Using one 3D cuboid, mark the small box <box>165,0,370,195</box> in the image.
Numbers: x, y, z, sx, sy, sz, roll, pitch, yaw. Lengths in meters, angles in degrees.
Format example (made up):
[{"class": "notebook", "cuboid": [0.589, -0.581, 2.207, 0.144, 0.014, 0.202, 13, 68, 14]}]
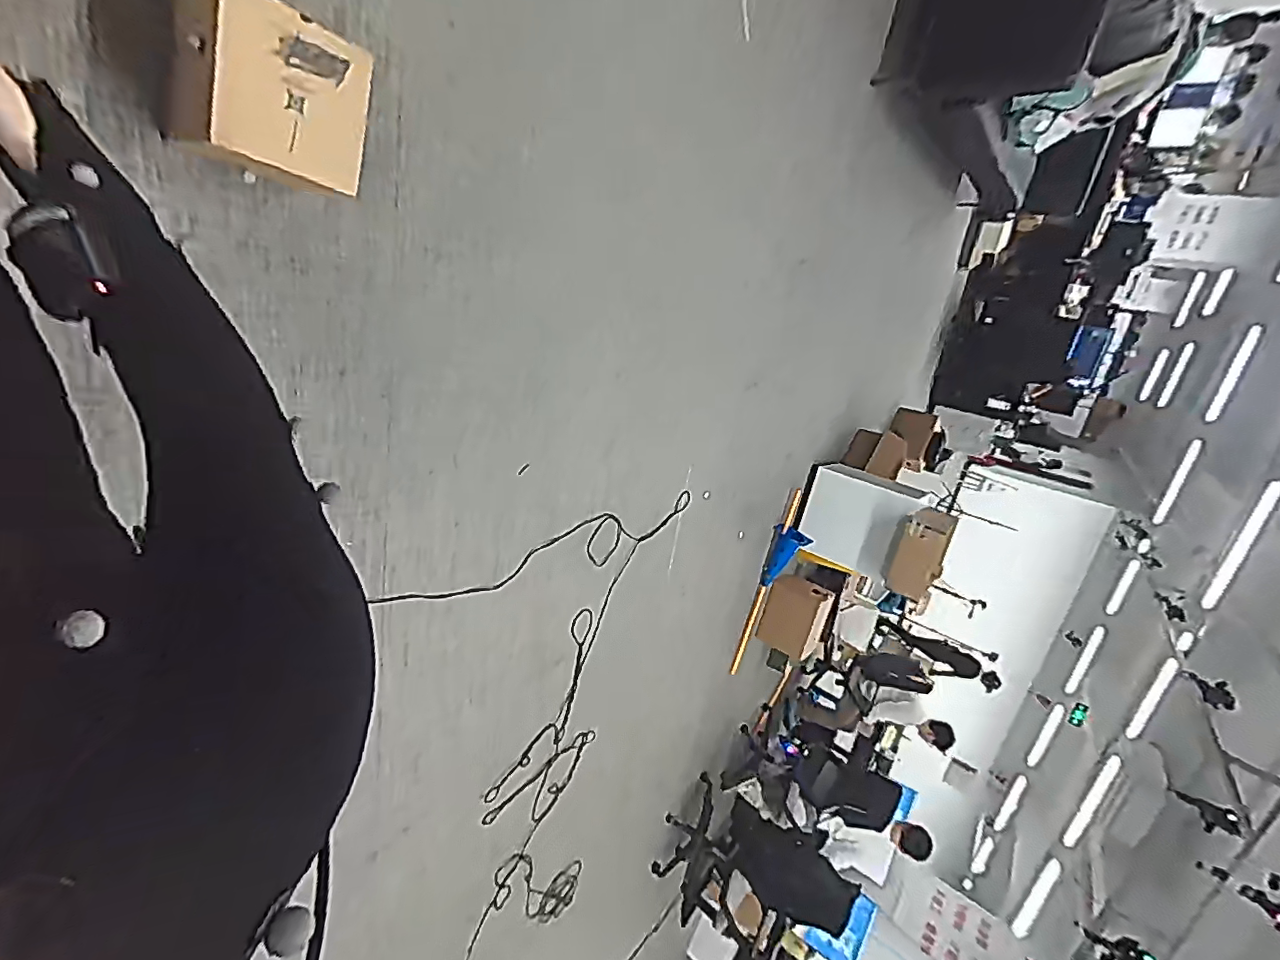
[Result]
[{"class": "small box", "cuboid": [-0.479, -0.494, 0.695, 0.168, 0.176, 0.179, -4, 114, -54]}]
